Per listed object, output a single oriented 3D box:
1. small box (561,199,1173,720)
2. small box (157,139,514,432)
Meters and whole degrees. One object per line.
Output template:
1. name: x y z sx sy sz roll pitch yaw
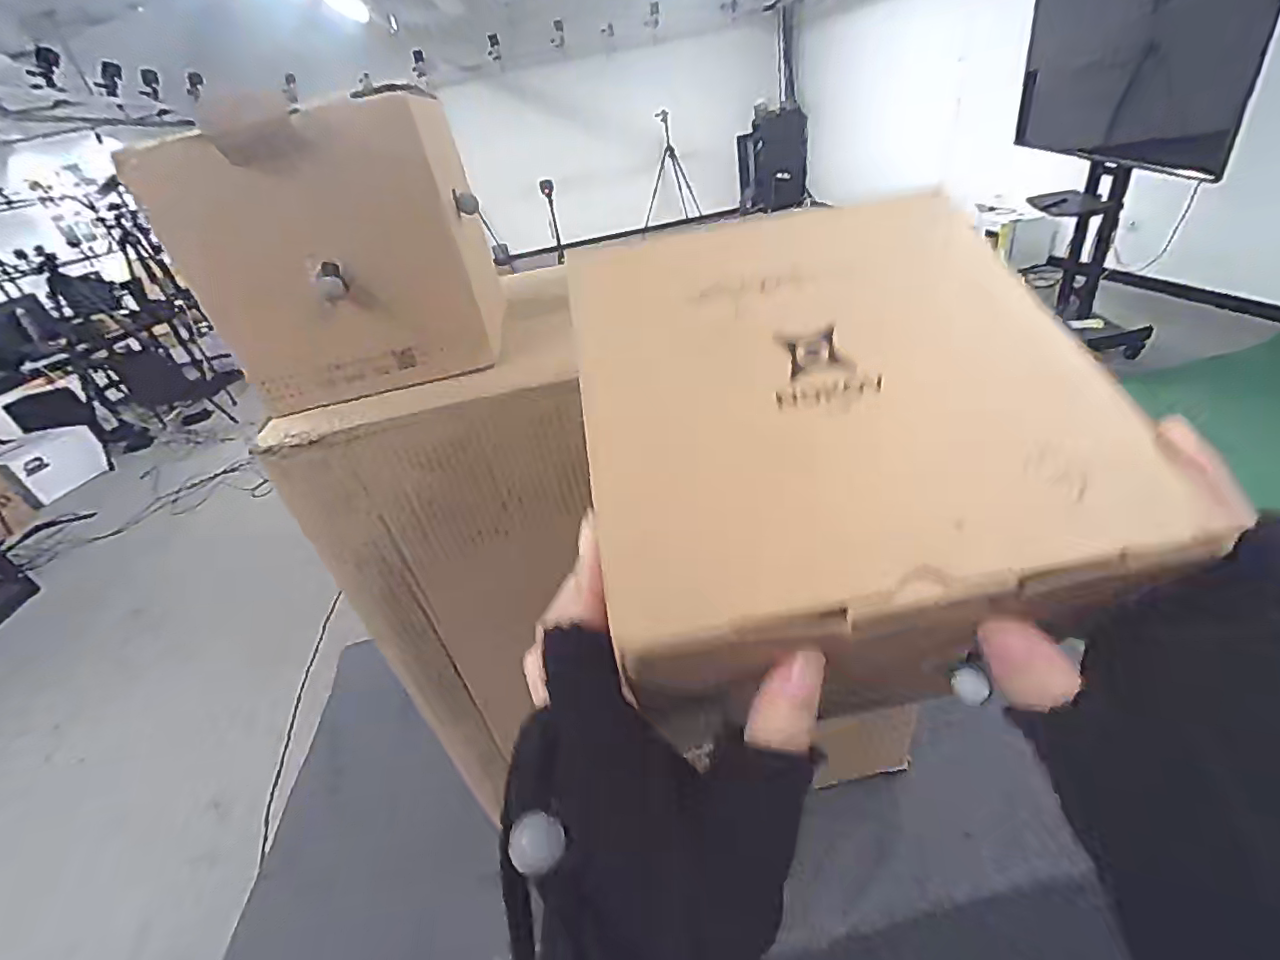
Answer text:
1. small box: 0.063 0.003 0.259 0.168 0.176 0.179 -9 54 0
2. small box: -0.205 -0.154 0.431 0.168 0.176 0.179 -16 34 -4
